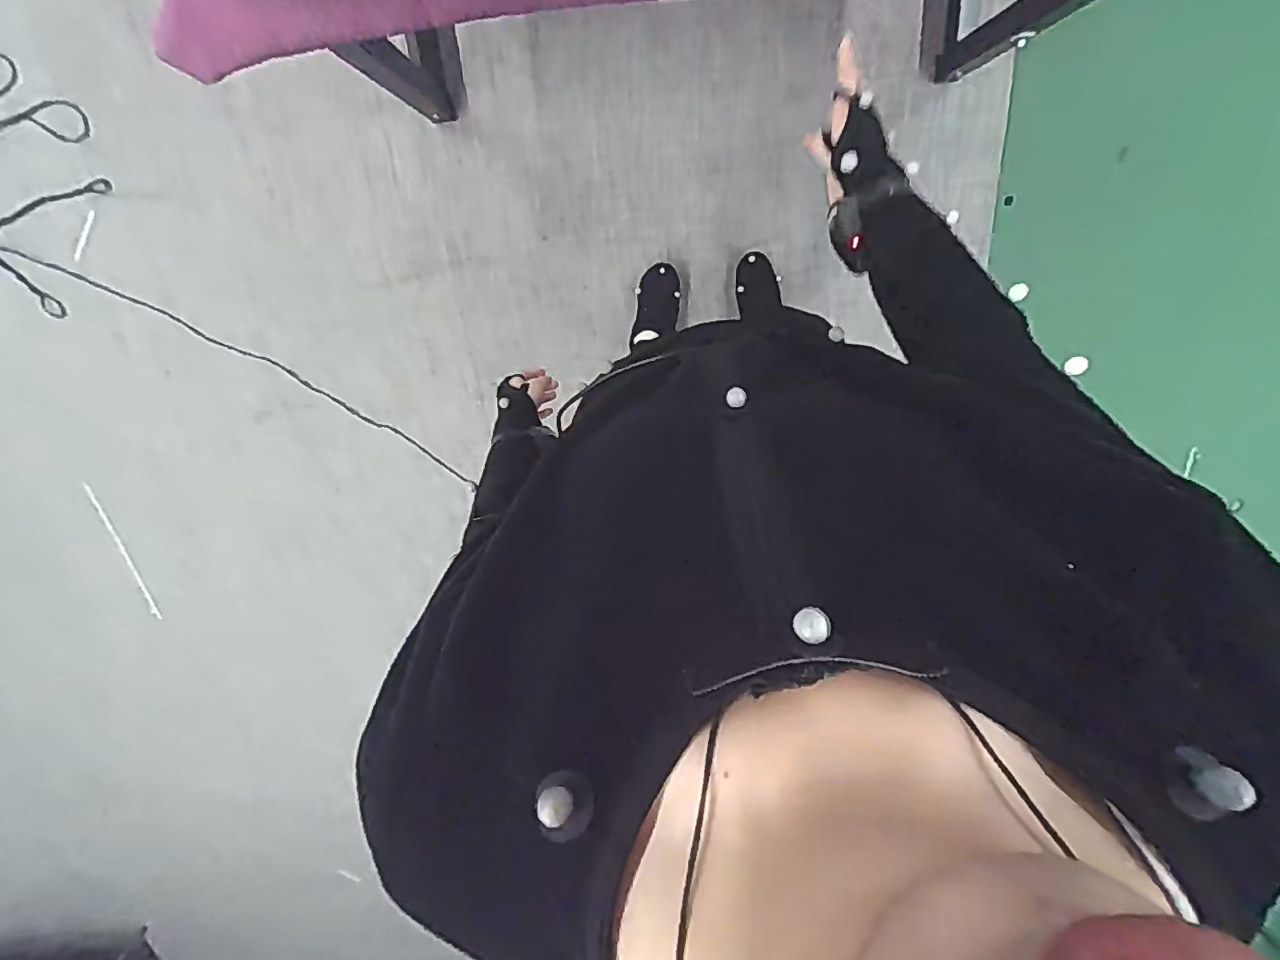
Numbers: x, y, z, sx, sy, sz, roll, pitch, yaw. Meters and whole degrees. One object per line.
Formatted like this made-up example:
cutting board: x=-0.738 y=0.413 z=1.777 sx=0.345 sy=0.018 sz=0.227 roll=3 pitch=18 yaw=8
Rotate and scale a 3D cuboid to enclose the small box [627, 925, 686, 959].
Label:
small box: x=0.046 y=1.411 z=1.539 sx=0.168 sy=0.176 sz=0.179 roll=1 pitch=110 yaw=1
